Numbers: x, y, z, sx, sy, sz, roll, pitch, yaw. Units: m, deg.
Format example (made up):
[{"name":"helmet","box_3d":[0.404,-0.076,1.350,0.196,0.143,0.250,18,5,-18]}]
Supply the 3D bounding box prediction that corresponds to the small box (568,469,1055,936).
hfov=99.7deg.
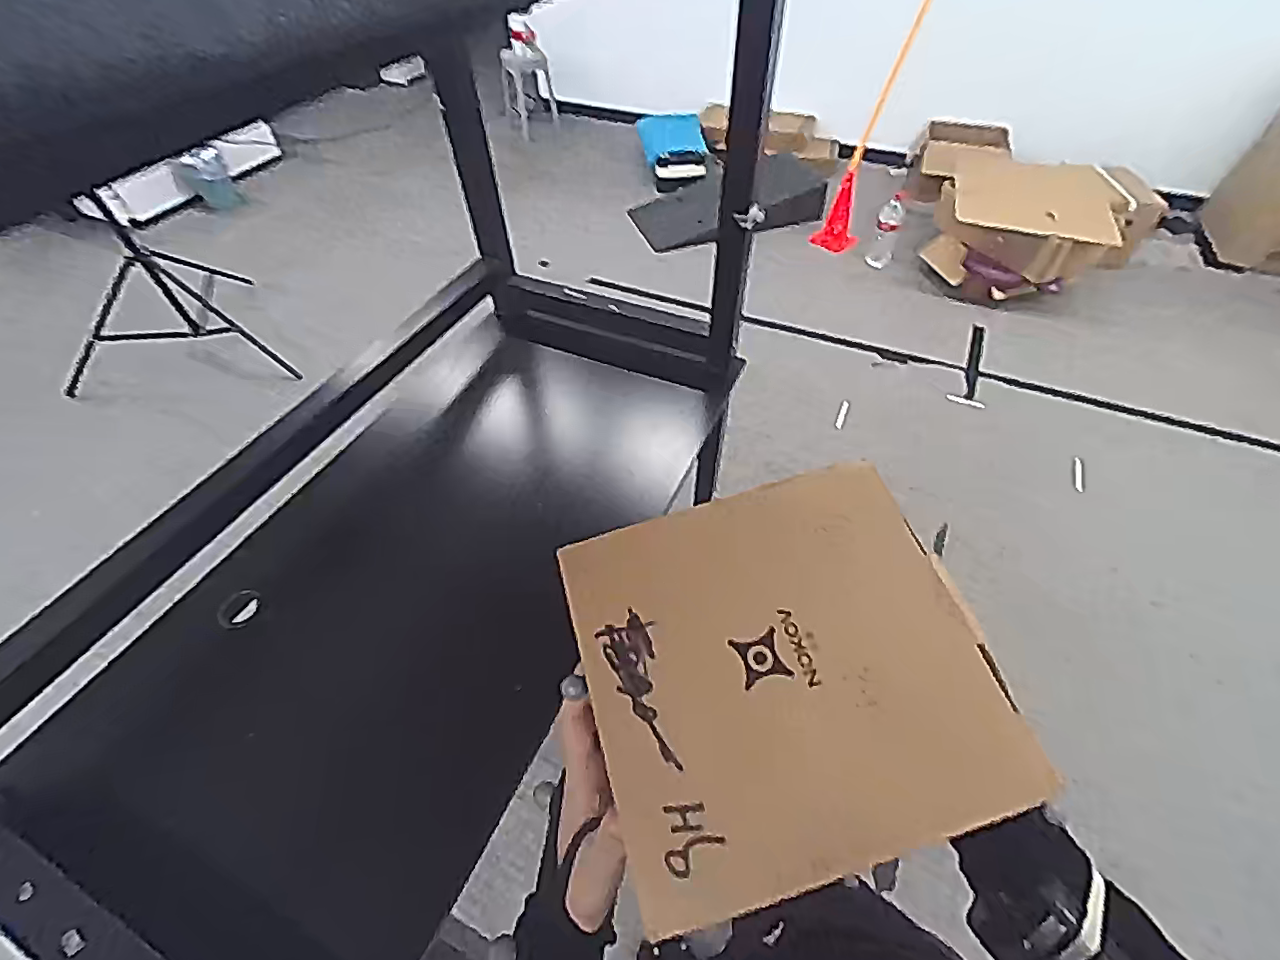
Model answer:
[{"name":"small box","box_3d":[0.069,0.121,0.317,0.179,0.176,0.168,-15,60,-4]}]
